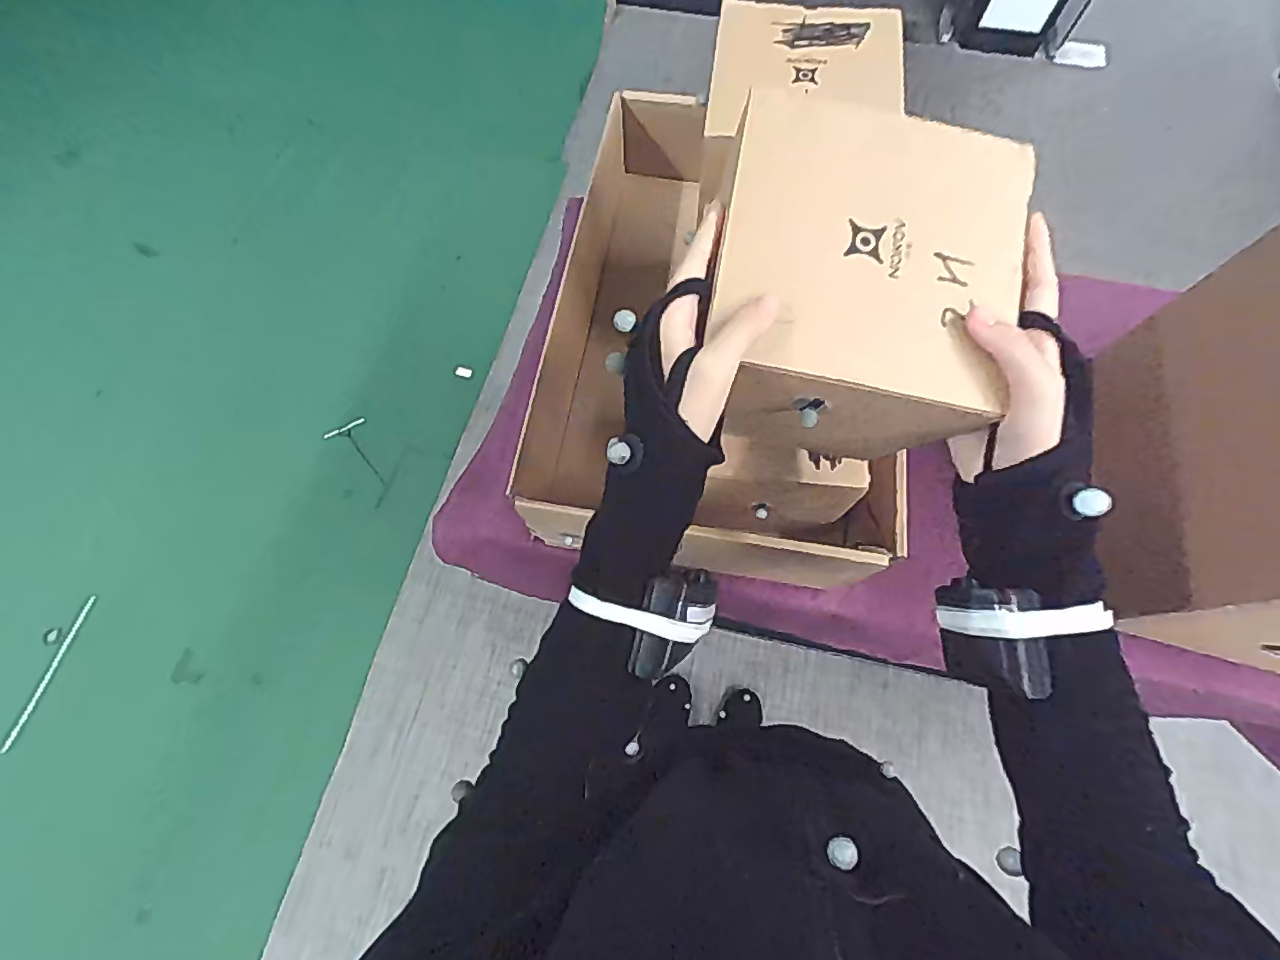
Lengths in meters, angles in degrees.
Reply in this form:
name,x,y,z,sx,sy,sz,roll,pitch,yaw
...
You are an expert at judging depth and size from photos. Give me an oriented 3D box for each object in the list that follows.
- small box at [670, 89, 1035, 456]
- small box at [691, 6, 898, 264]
name,x,y,z,sx,sy,sz,roll,pitch,yaw
small box,0.123,-0.118,0.379,0.179,0.176,0.168,11,84,-3
small box,0.145,-0.327,0.550,0.168,0.176,0.179,7,72,5
